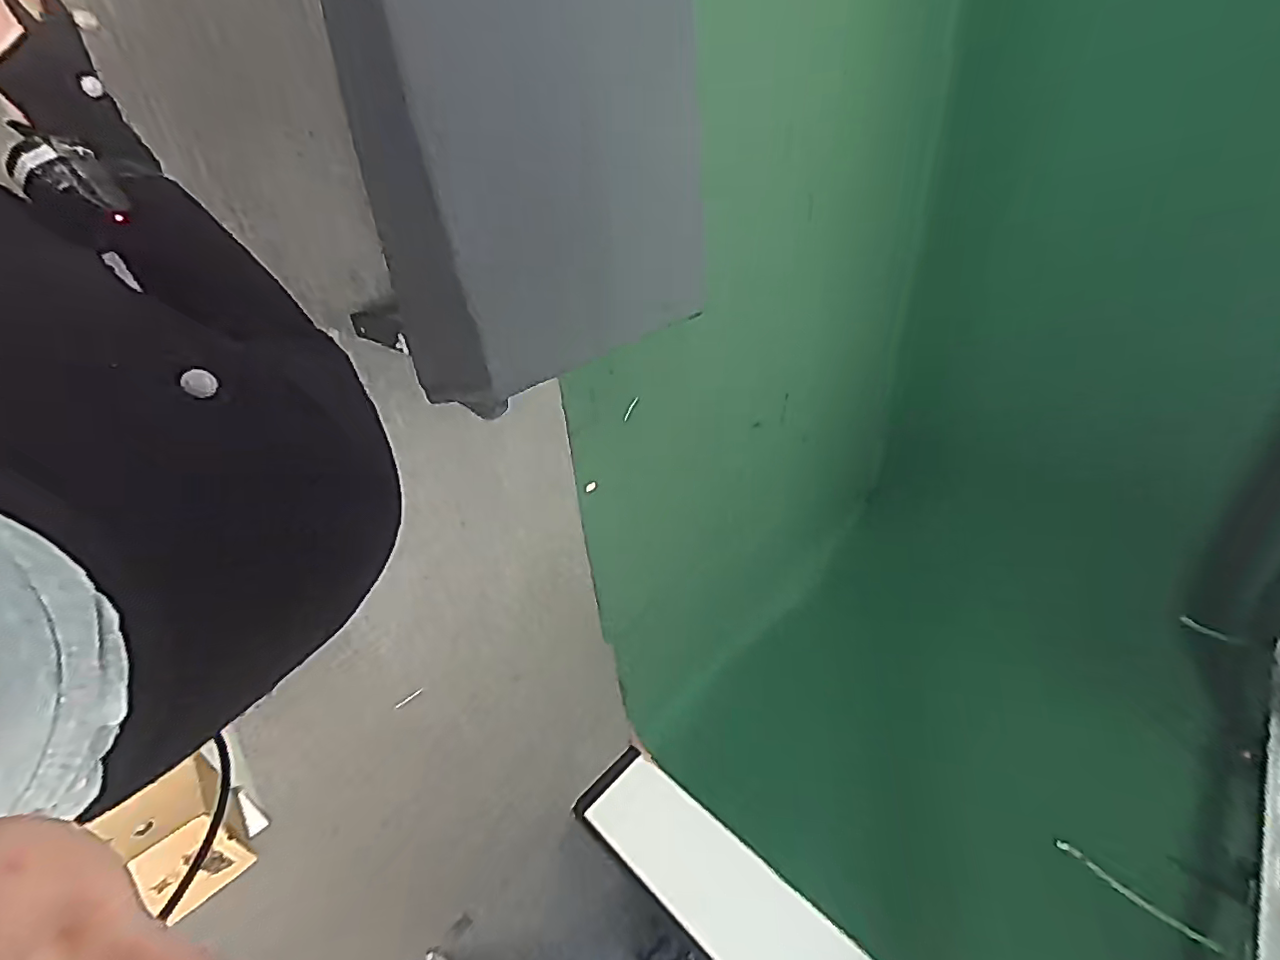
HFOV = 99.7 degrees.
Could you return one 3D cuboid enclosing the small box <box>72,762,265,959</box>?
[{"bbox_3d":[-0.751,0.601,0.865,0.179,0.176,0.168,-32,129,-32],"label":"small box"}]
